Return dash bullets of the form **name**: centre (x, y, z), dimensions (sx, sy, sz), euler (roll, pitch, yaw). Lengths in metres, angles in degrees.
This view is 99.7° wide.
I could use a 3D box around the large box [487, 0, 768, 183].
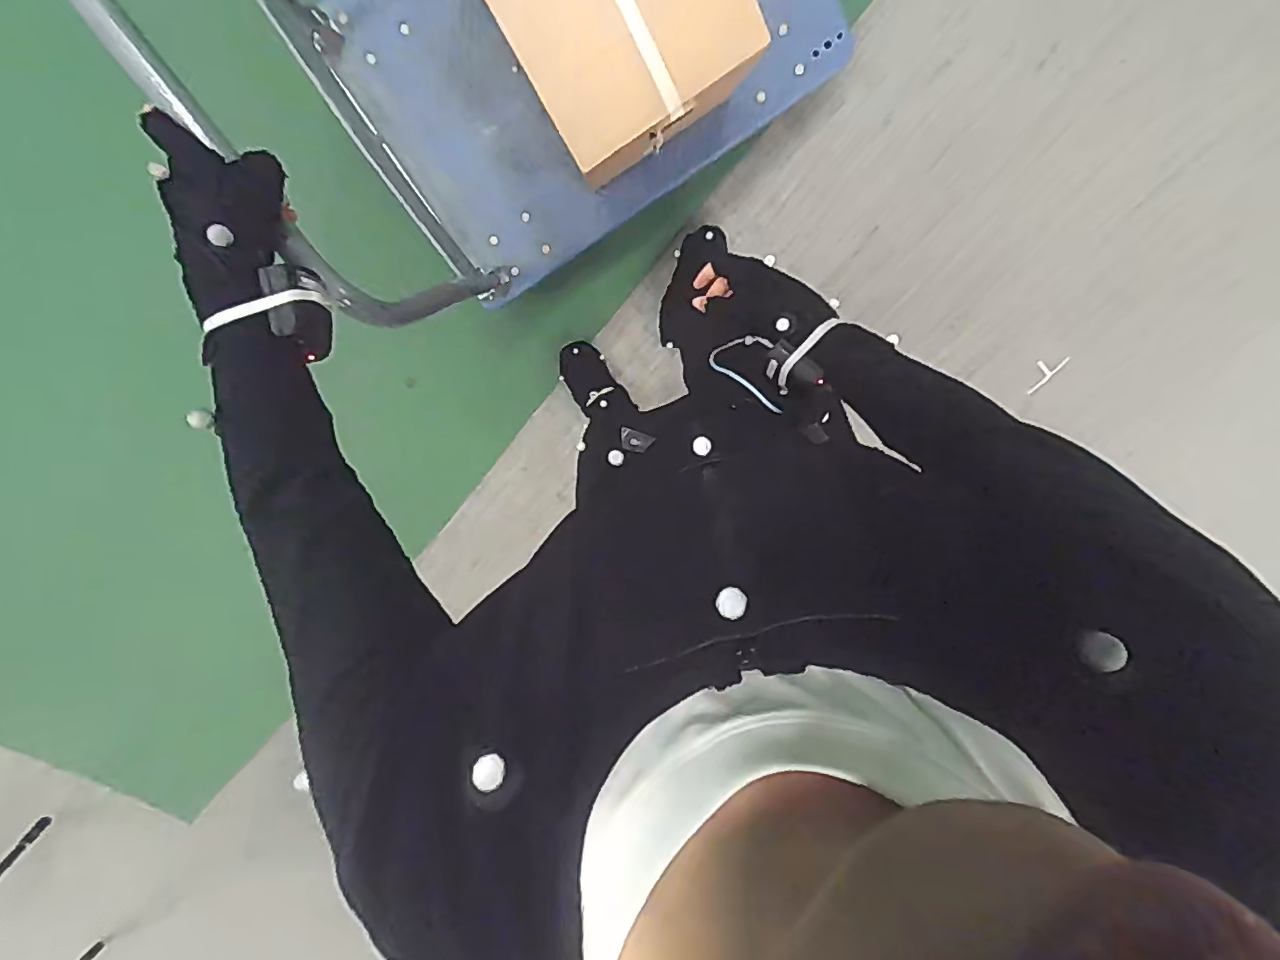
- **large box**: centre (-0.056, -0.751, 0.837), dimensions (0.320, 0.320, 0.408), euler (-29, 111, 11)
